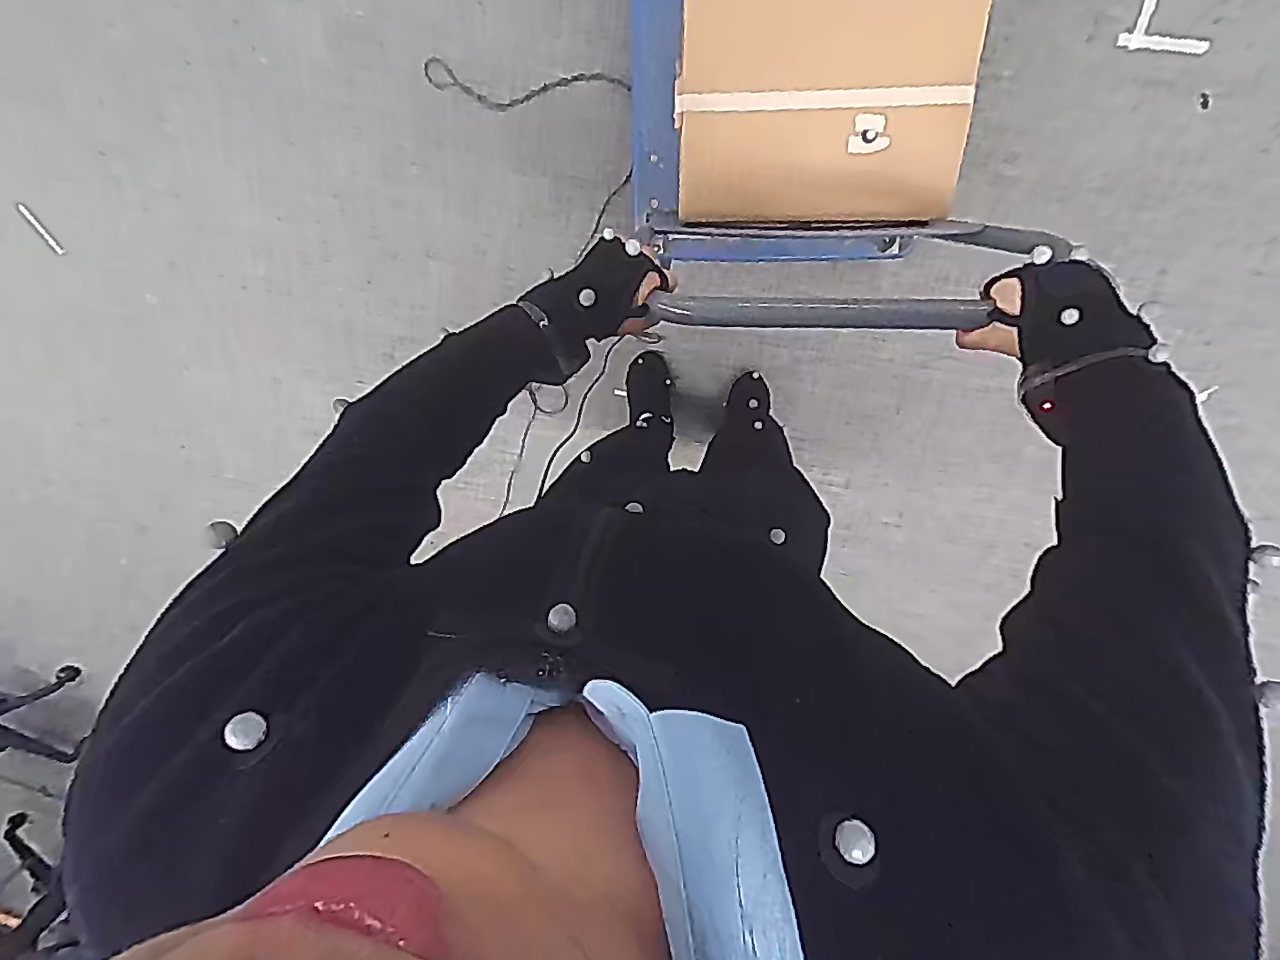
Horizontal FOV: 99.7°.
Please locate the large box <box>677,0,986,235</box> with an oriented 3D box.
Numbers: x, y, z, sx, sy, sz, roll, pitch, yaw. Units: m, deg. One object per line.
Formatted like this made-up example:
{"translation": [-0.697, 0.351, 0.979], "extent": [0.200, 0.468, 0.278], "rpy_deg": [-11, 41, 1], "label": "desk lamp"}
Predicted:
{"translation": [0.266, -0.586, 0.903], "extent": [0.408, 0.320, 0.320], "rpy_deg": [1, 115, 3], "label": "large box"}
